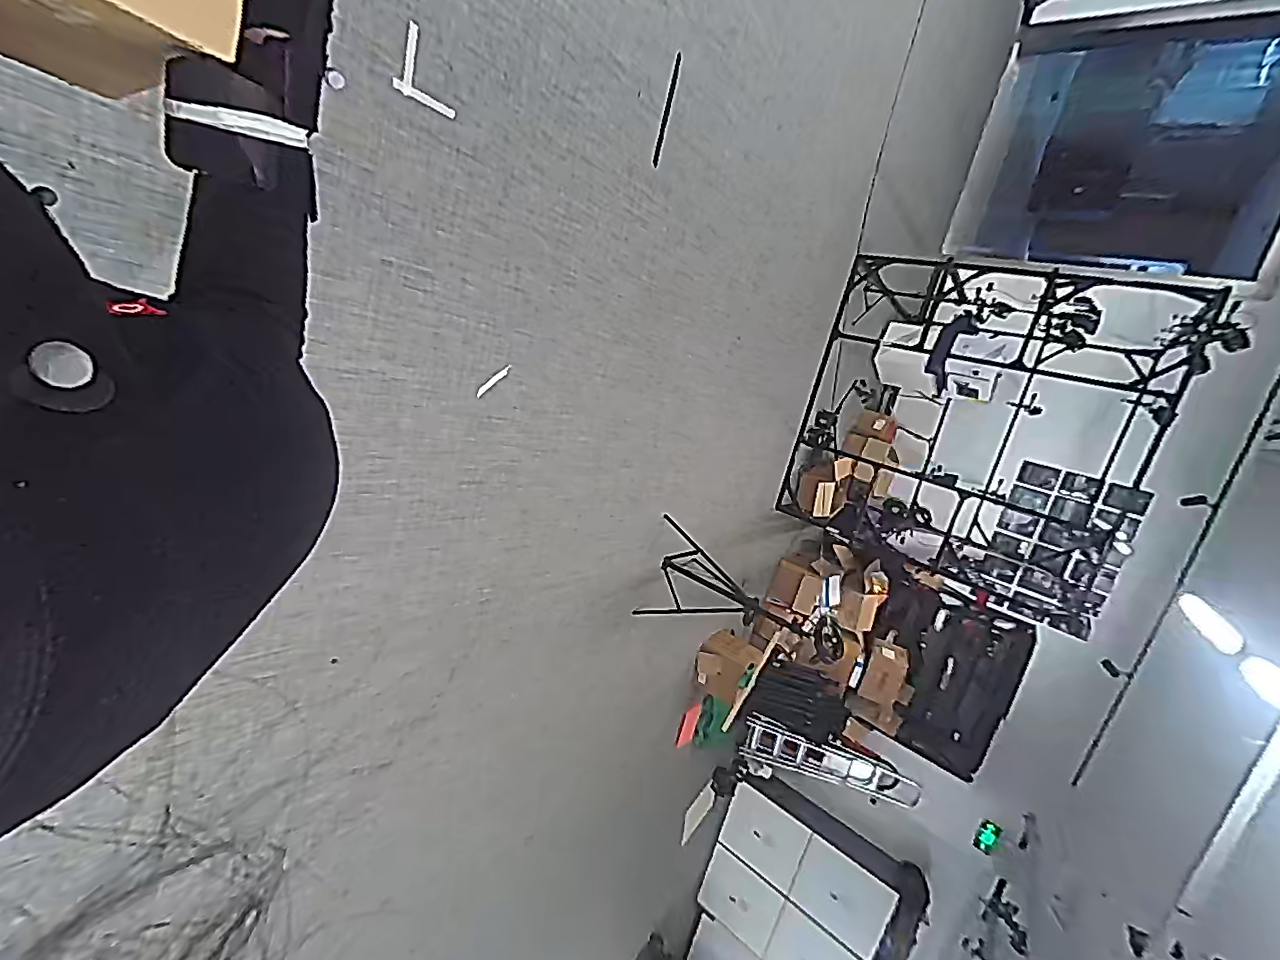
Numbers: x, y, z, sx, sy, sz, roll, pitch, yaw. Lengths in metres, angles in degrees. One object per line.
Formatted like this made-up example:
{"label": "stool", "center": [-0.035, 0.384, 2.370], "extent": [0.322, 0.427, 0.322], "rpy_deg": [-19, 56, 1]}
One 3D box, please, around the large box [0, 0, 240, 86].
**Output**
{"label": "large box", "center": [-0.456, -0.456, 0.234], "extent": [0.408, 0.320, 0.320], "rpy_deg": [-2, 111, -55]}
